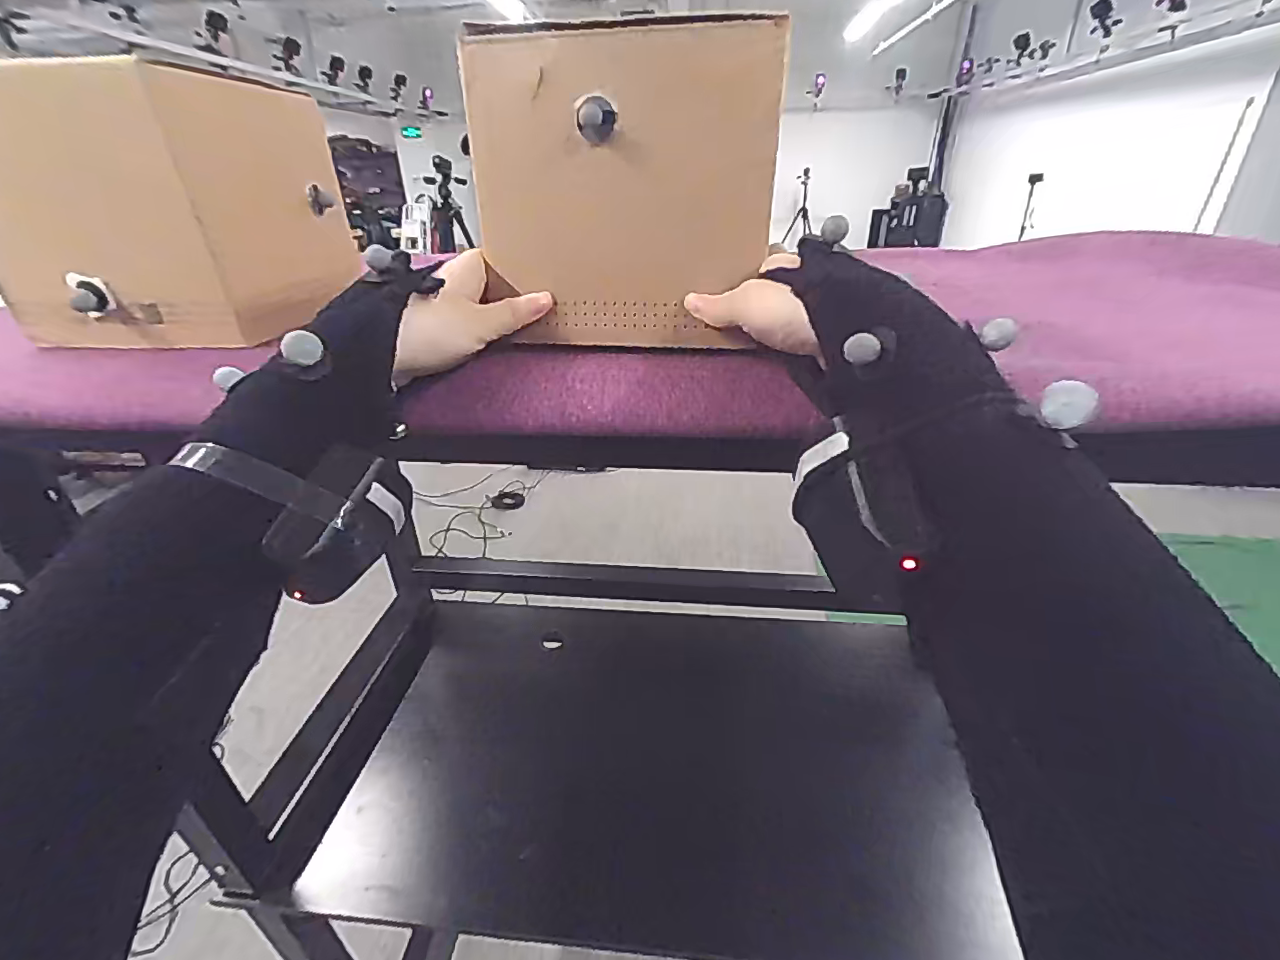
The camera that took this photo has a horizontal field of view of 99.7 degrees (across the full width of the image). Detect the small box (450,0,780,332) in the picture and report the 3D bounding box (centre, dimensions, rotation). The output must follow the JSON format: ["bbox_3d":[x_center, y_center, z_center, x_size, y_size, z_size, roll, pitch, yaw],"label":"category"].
[{"bbox_3d":[-0.003,-0.202,0.377,0.179,0.176,0.168,4,27,8],"label":"small box"}]

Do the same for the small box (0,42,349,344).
[{"bbox_3d":[-0.353,-0.209,0.412,0.168,0.176,0.179,-1,30,3],"label":"small box"}]
